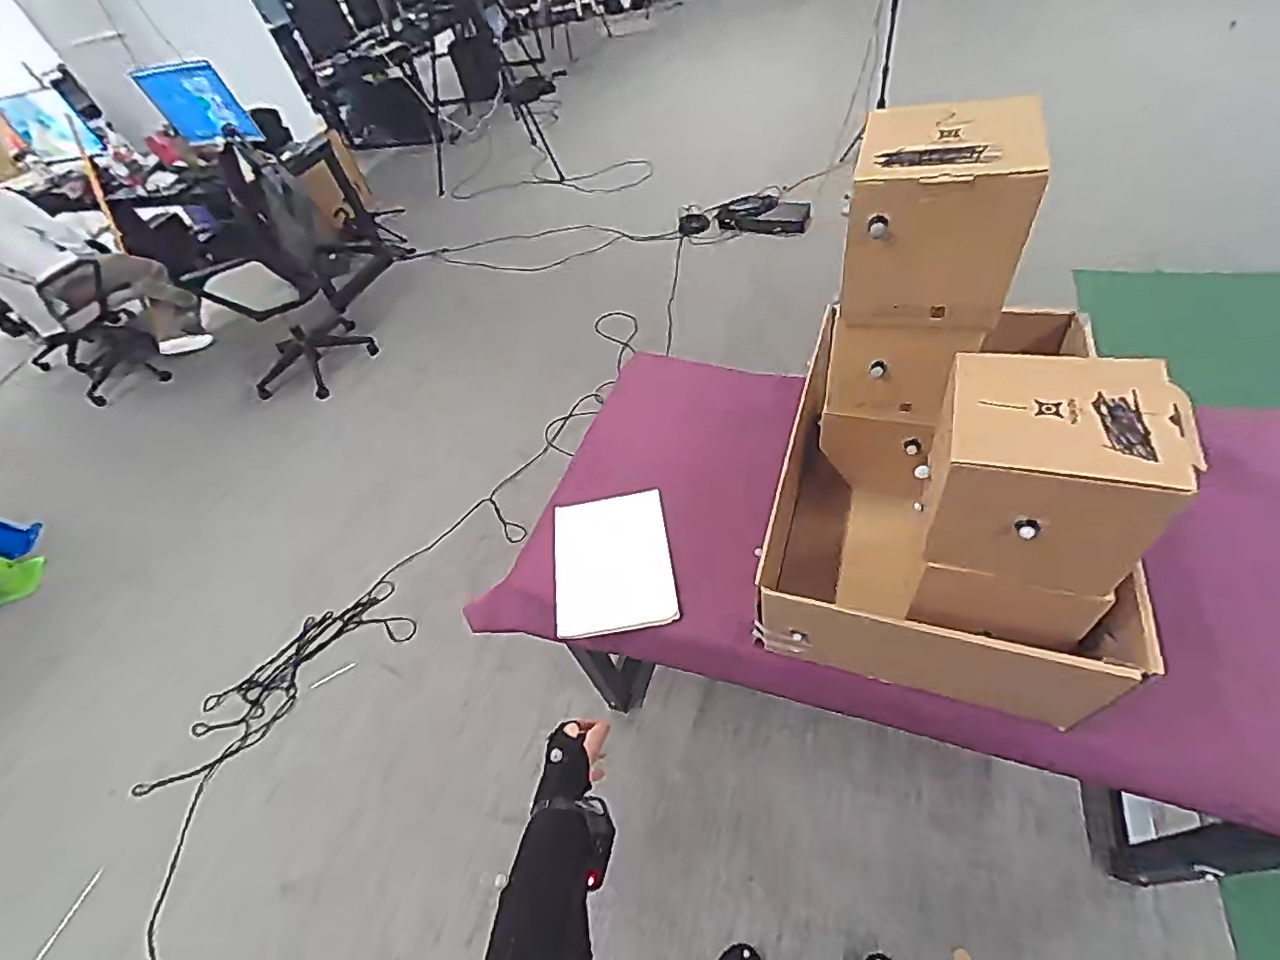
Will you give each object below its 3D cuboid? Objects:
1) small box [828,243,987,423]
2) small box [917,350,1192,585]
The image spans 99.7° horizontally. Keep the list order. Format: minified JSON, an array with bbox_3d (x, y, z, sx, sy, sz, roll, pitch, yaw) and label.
[{"bbox_3d":[0.357,-0.200,0.740,0.168,0.176,0.179,10,55,22],"label":"small box"},{"bbox_3d":[0.401,-0.012,0.558,0.179,0.176,0.168,9,52,24],"label":"small box"}]
